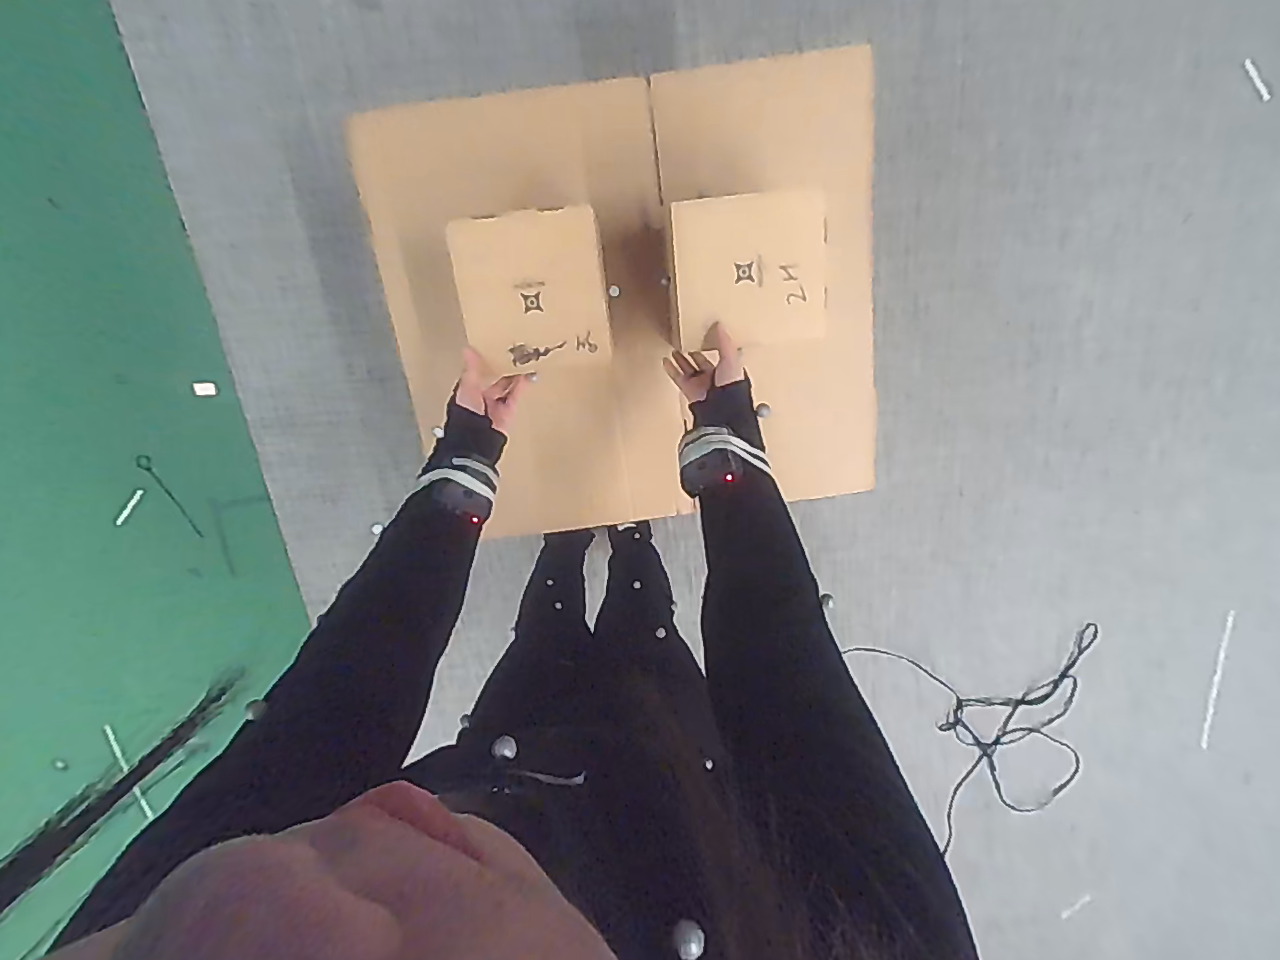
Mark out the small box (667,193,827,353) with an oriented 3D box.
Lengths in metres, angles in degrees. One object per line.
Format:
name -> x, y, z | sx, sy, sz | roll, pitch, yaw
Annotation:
small box -> 0.125, -0.253, 0.694 | 0.179, 0.176, 0.168 | -4, 106, 1

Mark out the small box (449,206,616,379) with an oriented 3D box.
small box -> -0.123, -0.229, 0.692 | 0.168, 0.176, 0.179 | -6, 105, 2
